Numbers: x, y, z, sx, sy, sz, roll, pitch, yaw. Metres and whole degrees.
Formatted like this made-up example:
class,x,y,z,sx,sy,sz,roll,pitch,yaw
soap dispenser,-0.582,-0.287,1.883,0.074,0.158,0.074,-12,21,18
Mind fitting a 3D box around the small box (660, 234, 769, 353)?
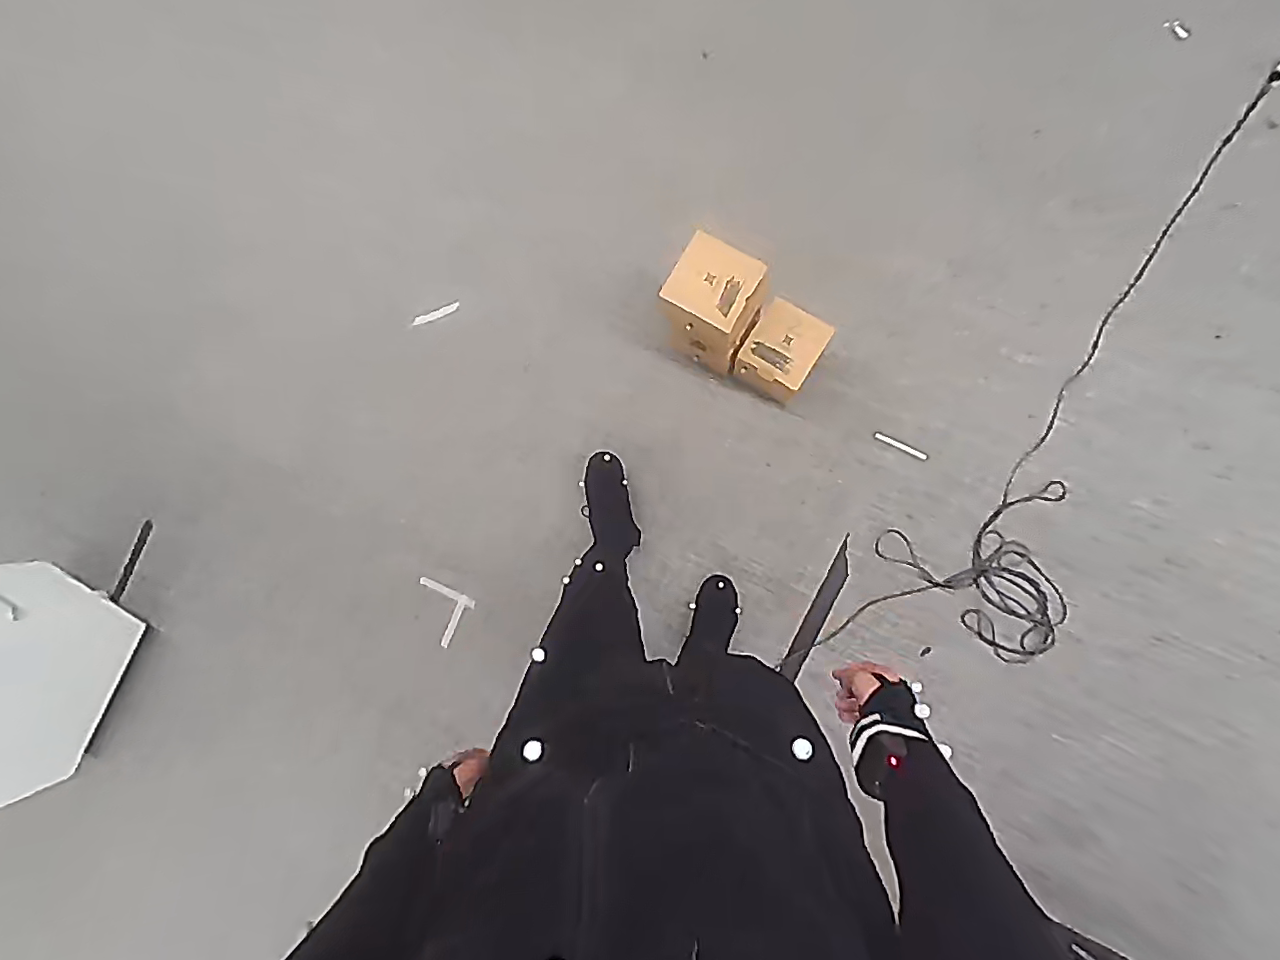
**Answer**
class,x,y,z,sx,sy,sz,roll,pitch,yaw
small box,0.165,-0.404,1.210,0.179,0.176,0.168,31,91,8
